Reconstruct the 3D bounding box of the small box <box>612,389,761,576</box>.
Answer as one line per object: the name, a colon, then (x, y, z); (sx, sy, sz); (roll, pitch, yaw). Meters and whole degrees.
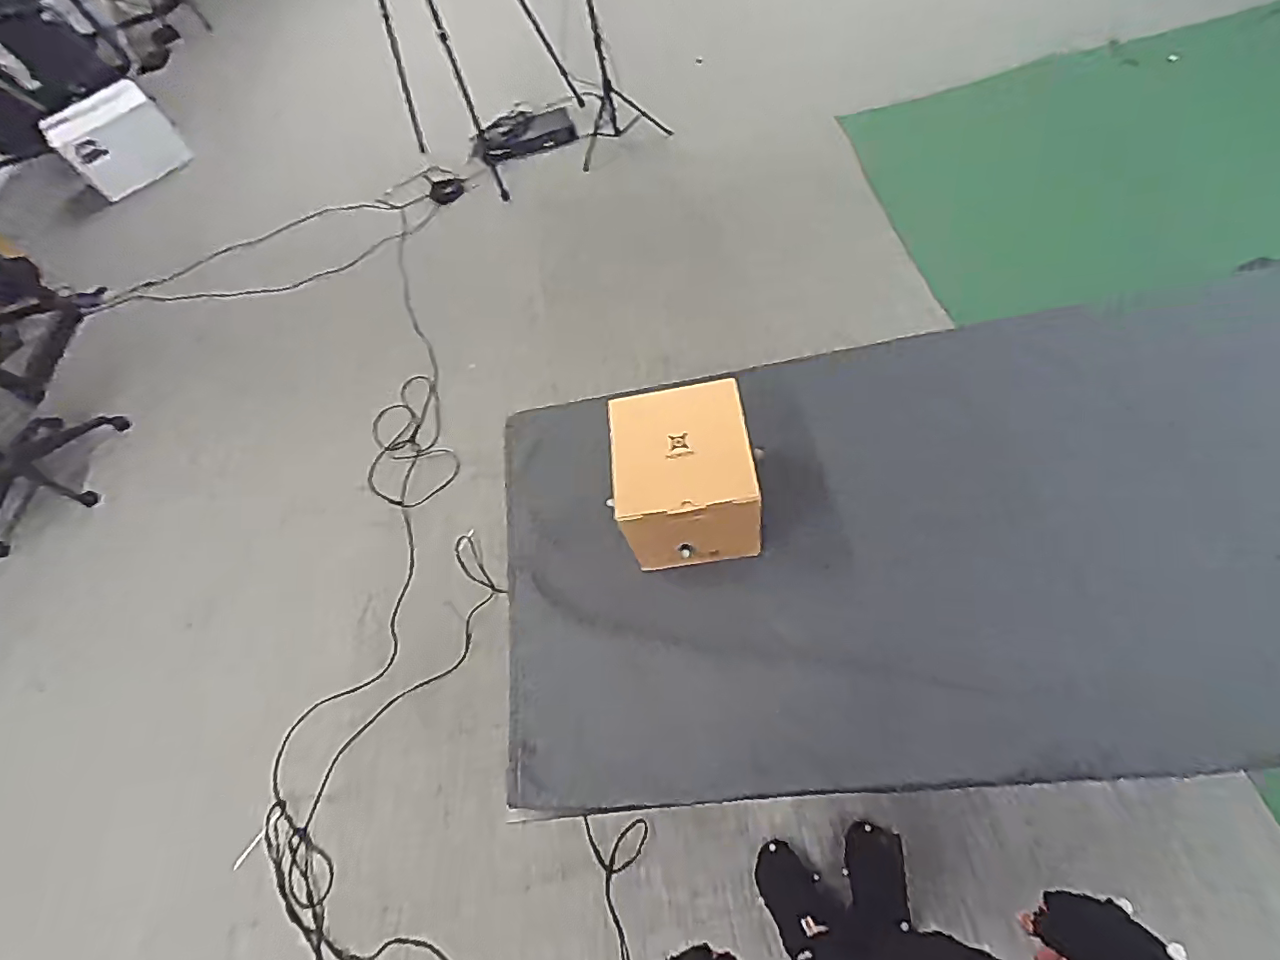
small box: (0.061, 0.009, 0.717); (0.168, 0.176, 0.179); (-9, 60, 6)
